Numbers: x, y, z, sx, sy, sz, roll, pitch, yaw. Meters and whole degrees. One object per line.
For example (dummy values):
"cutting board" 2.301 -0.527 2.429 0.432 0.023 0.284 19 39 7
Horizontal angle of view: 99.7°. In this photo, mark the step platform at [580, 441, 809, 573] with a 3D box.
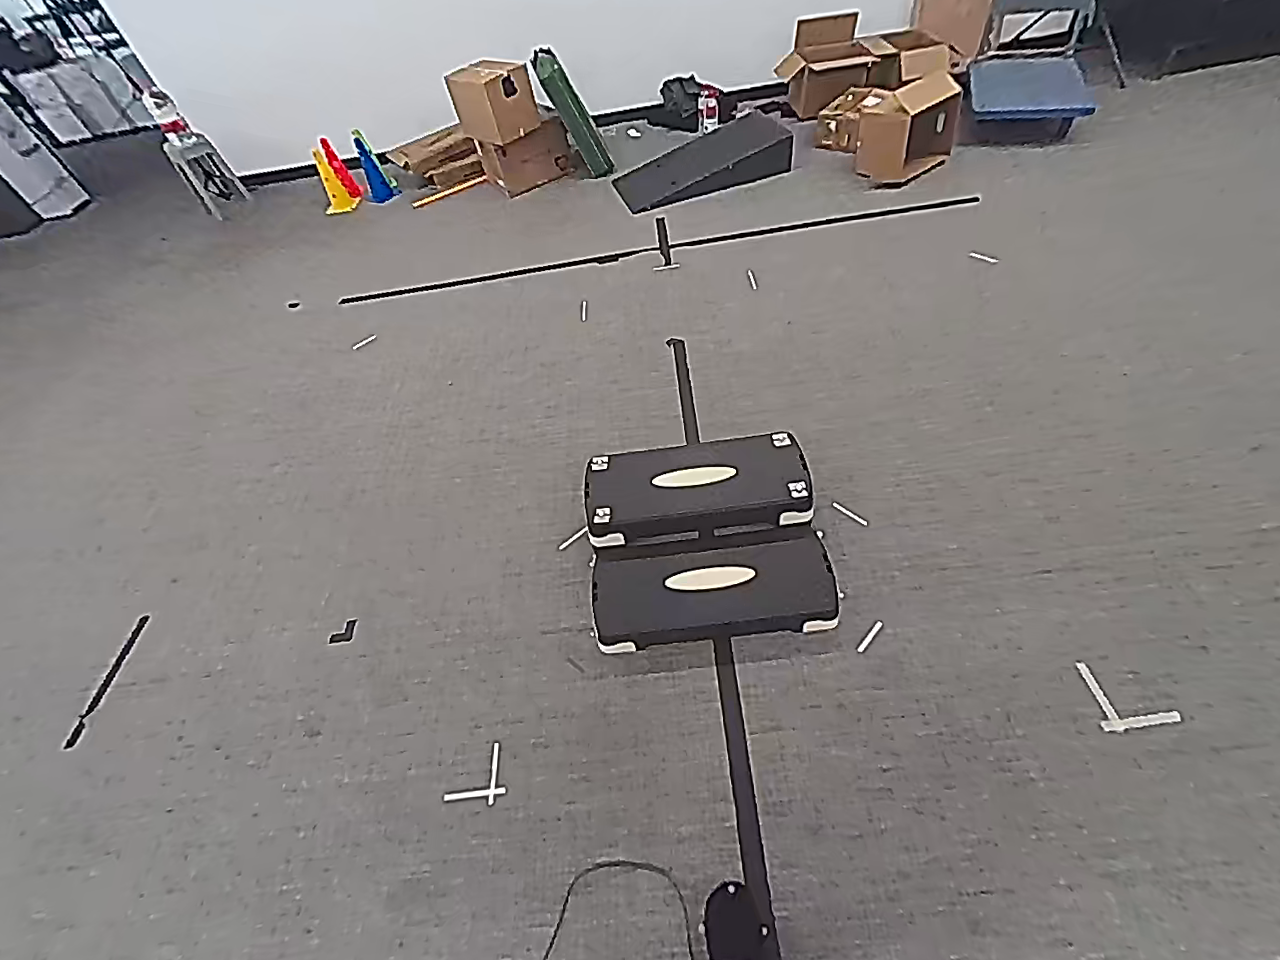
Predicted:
"step platform" 0.157 0.079 1.654 0.684 0.204 0.286 -8 51 2
